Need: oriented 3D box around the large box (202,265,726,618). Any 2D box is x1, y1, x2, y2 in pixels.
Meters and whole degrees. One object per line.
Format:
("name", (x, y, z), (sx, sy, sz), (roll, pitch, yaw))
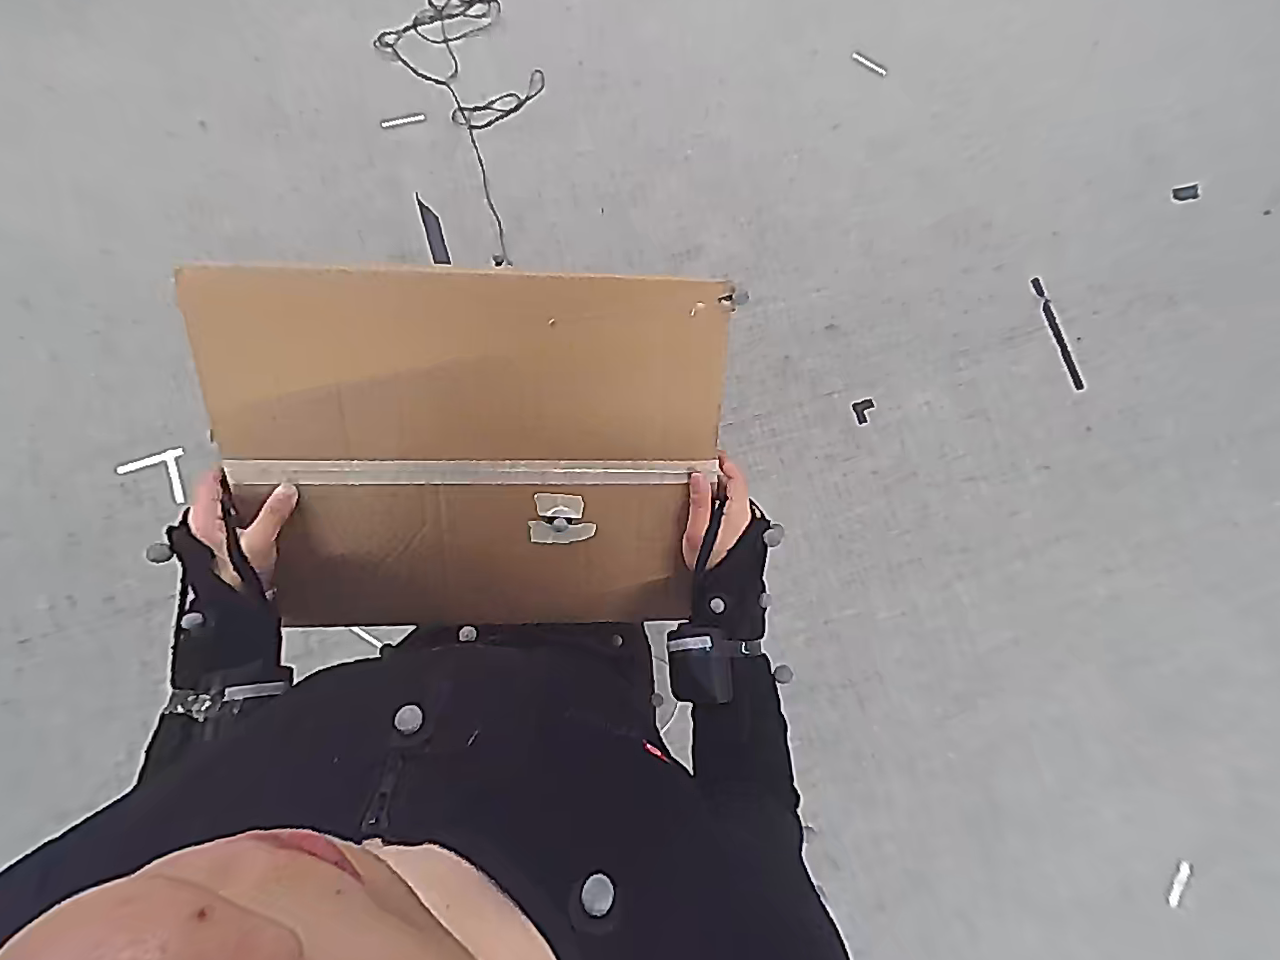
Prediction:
("large box", (-0.146, -0.071, 0.607), (0.408, 0.320, 0.320), (-1, 113, -6))
